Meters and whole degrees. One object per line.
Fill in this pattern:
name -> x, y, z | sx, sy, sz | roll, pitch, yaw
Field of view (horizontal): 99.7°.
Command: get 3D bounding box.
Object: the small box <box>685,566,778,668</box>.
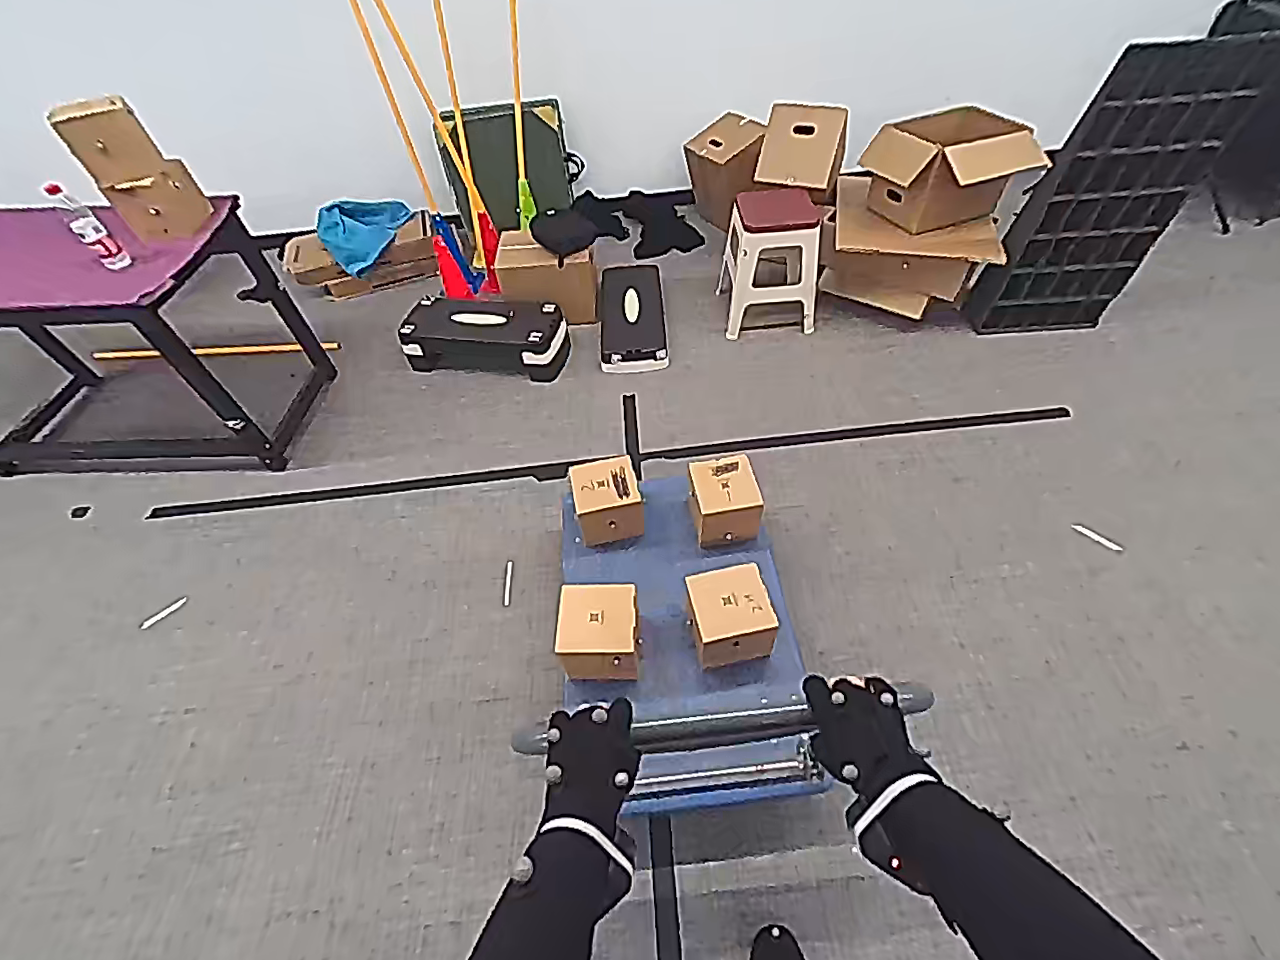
small box -> 0.212, 0.331, 1.289 | 0.179, 0.176, 0.168 | -11, 52, -4

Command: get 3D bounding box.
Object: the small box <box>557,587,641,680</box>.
small box -> -0.091, 0.368, 1.286 | 0.179, 0.176, 0.168 | -1, 51, 2

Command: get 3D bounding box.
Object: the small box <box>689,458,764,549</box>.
small box -> 0.232, 0.066, 1.499 | 0.168, 0.176, 0.179 | -9, 52, -3
